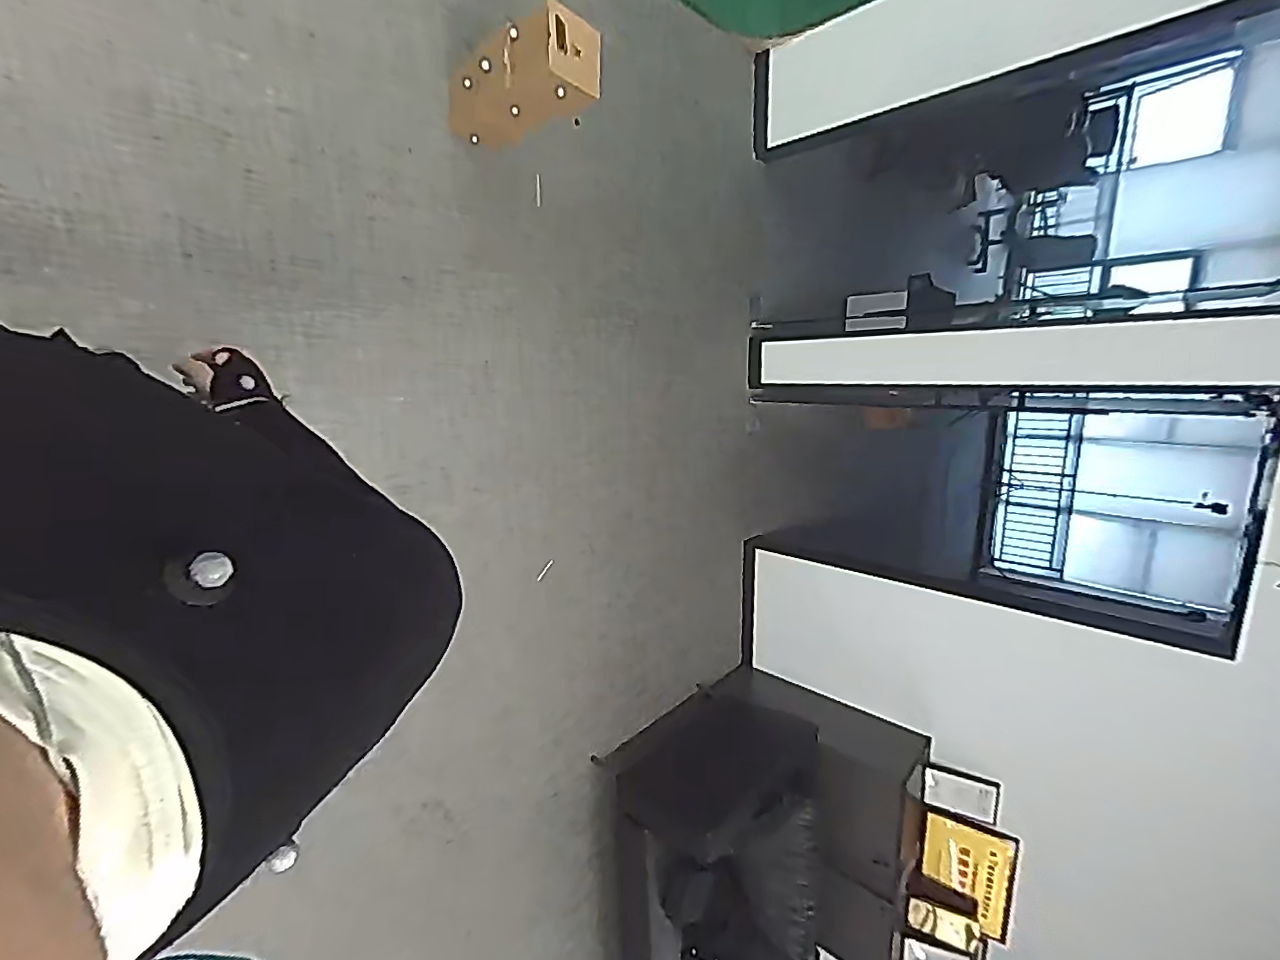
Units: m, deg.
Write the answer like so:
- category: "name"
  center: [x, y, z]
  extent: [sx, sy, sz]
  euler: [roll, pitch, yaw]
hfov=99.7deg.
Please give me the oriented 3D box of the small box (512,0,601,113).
- category: "small box"
  center: [-0.224, -1.115, 1.435]
  extent: [0.179, 0.176, 0.168]
  euler: [-7, 103, -47]

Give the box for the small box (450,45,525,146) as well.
- category: "small box"
  center: [-0.467, -1.161, 1.650]
  extent: [0.168, 0.176, 0.179]
  euler: [-5, 101, -47]

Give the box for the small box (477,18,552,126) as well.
- category: "small box"
  center: [-0.350, -1.145, 1.538]
  extent: [0.179, 0.176, 0.168]
  euler: [-5, 101, -46]
